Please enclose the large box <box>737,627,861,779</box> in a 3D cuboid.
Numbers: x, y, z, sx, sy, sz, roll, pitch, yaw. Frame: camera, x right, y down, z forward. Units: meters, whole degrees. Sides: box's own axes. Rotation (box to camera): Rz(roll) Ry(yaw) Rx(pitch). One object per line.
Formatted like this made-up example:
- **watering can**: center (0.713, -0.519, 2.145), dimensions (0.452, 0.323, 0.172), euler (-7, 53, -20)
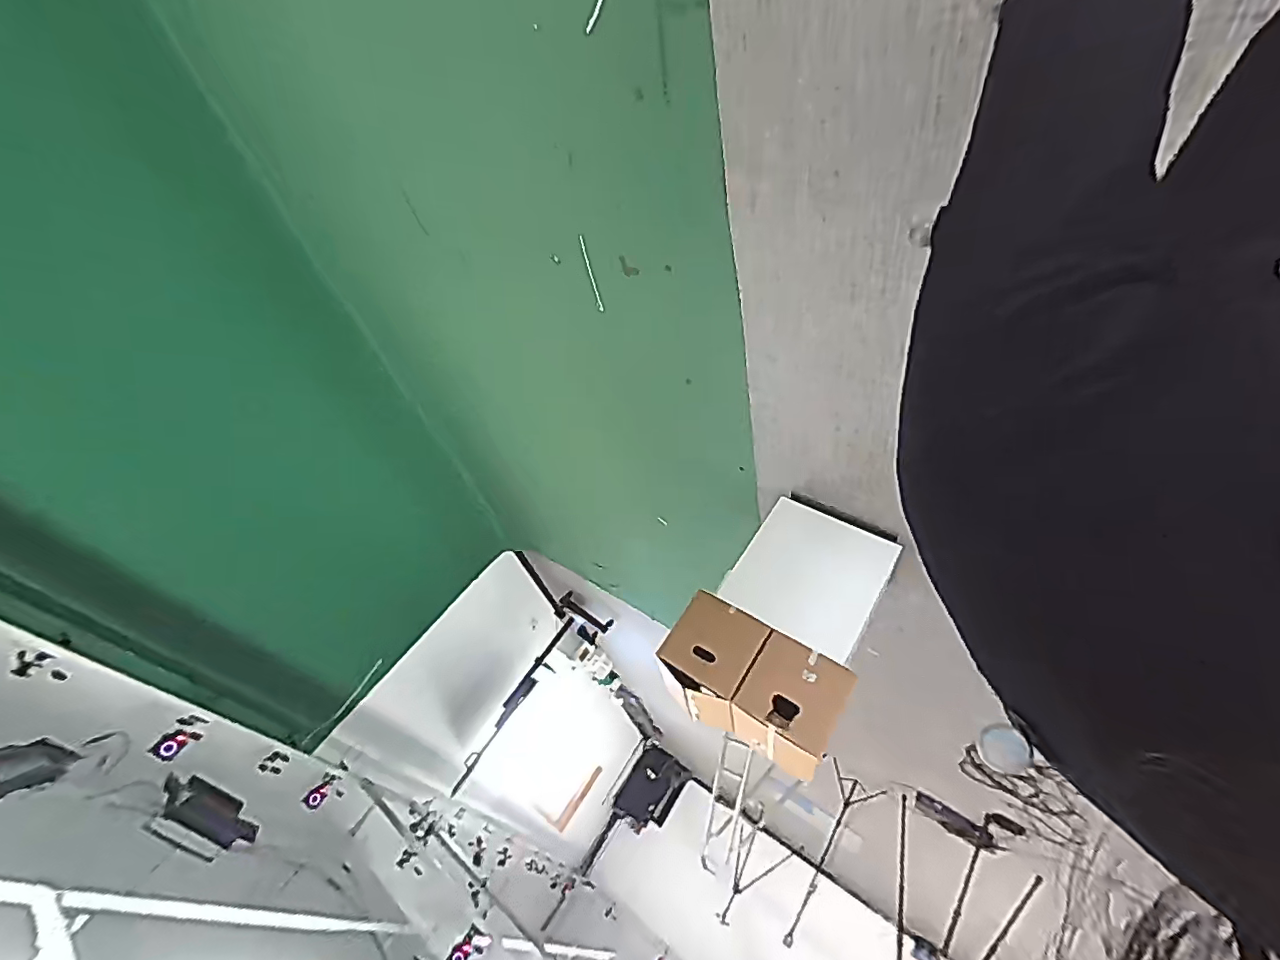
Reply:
- **large box**: center (0.568, 0.799, 1.942), dimensions (0.320, 0.320, 0.408), euler (25, 151, 30)
